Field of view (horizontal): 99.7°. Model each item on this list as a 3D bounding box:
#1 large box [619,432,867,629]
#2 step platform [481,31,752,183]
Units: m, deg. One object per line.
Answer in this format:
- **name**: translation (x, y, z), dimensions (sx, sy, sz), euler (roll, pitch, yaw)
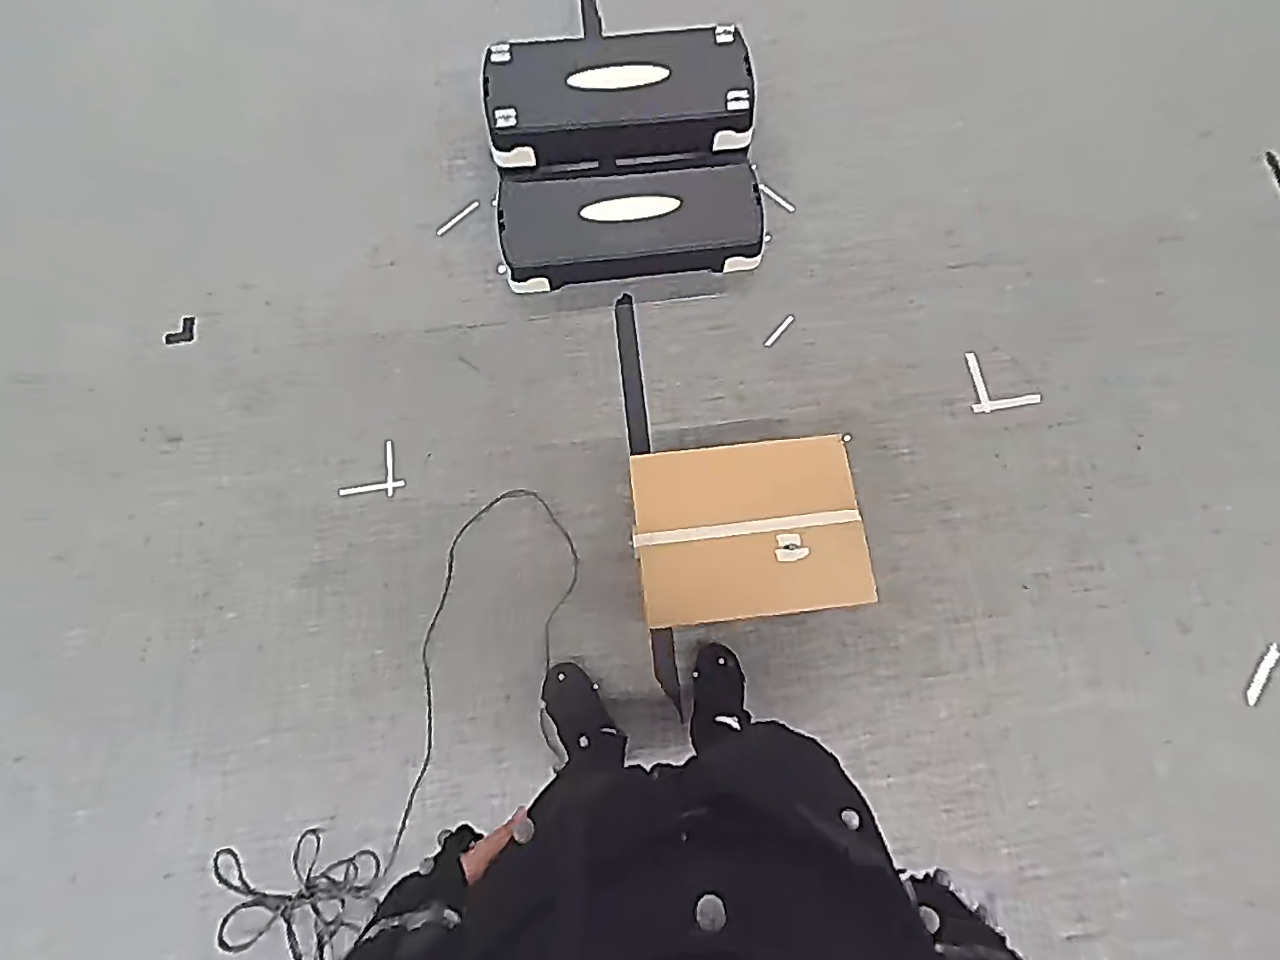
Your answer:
- **large box**: translation (0.176, 0.117, 1.108), dimensions (0.408, 0.320, 0.320), euler (-7, 77, -2)
- **step platform**: translation (-0.057, -0.967, 1.402), dimensions (0.684, 0.204, 0.286), euler (-1, 78, -1)
